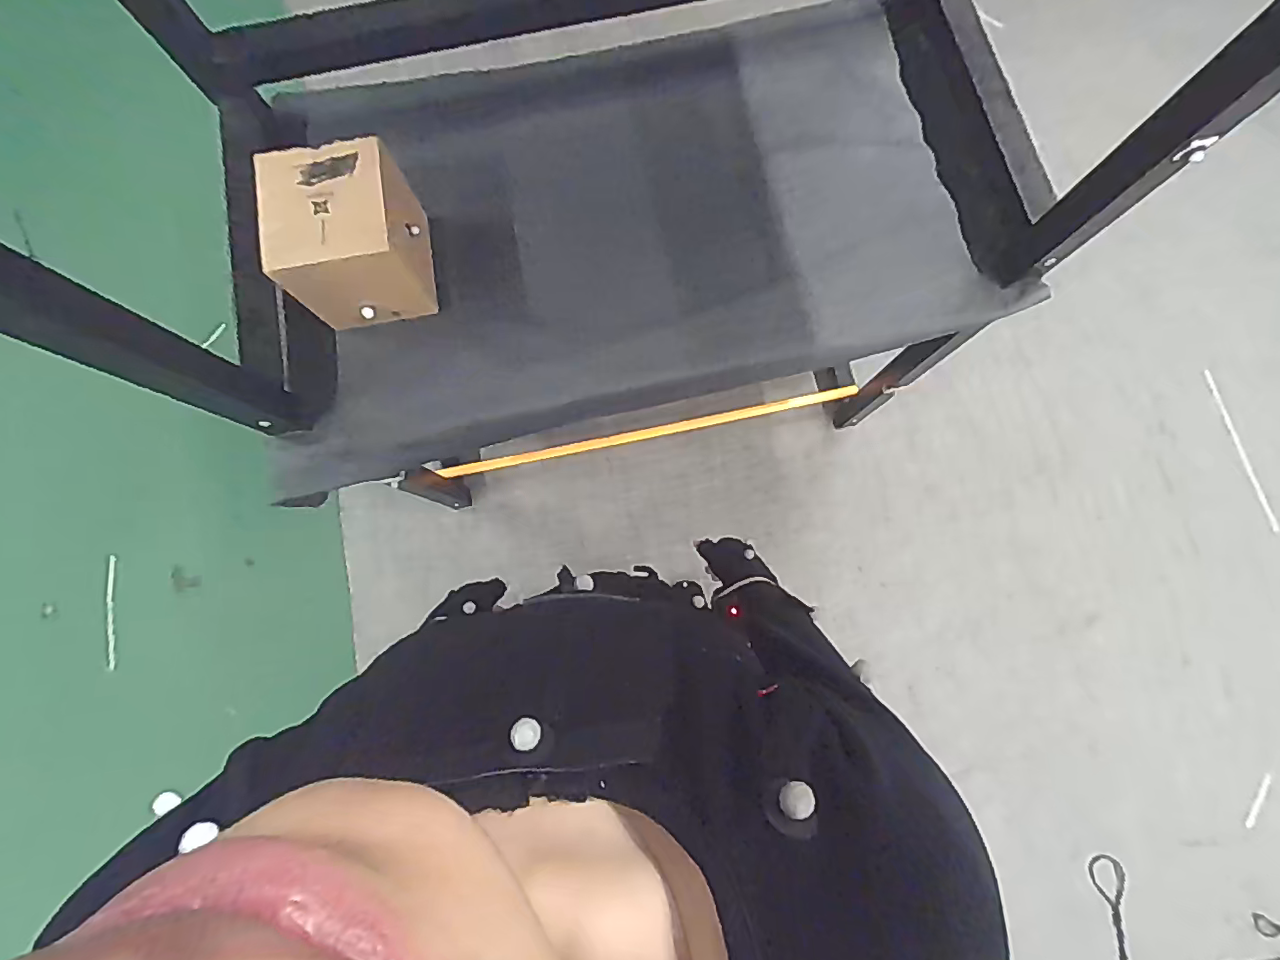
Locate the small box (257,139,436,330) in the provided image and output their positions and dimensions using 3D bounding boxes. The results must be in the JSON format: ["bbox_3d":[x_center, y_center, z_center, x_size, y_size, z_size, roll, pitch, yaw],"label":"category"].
[{"bbox_3d":[-0.413,-0.345,0.783,0.168,0.176,0.179,-11,80,-1],"label":"small box"}]
